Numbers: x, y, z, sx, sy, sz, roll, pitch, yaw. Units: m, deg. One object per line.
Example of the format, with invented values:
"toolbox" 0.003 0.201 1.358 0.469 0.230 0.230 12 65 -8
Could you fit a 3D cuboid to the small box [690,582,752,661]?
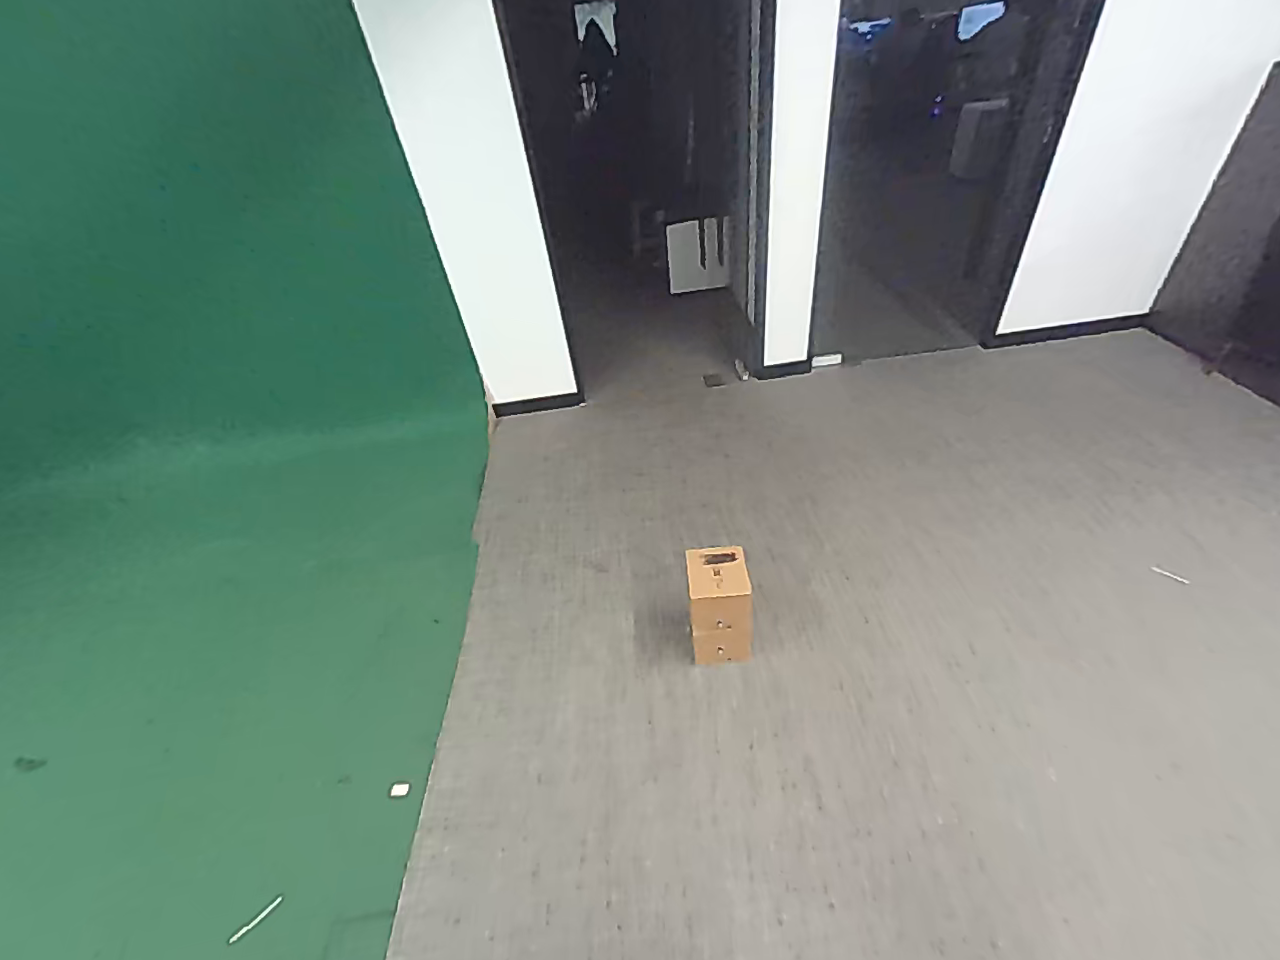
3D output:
"small box" 0.247 0.439 1.656 0.168 0.176 0.179 -7 41 2
